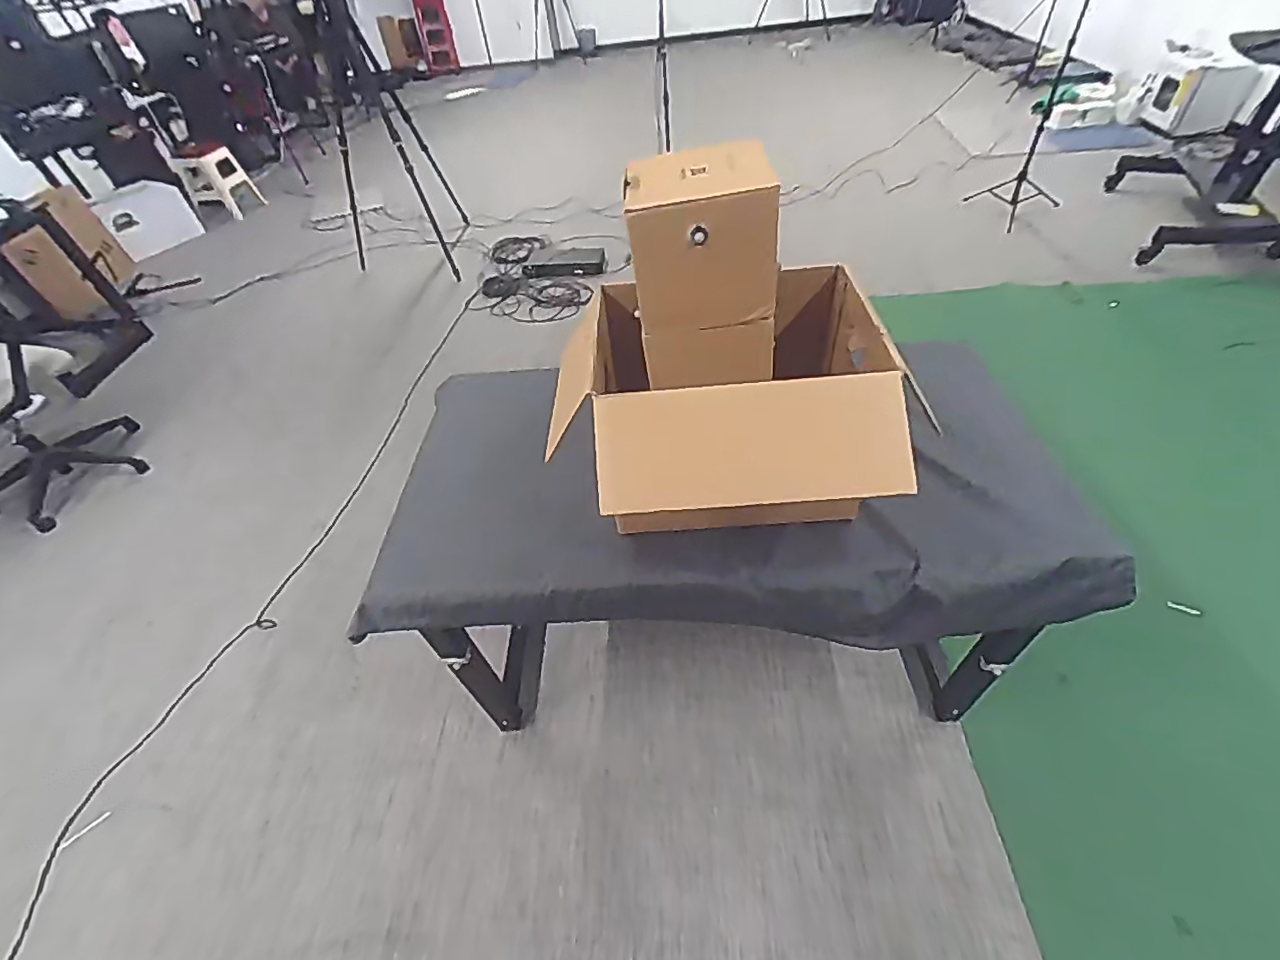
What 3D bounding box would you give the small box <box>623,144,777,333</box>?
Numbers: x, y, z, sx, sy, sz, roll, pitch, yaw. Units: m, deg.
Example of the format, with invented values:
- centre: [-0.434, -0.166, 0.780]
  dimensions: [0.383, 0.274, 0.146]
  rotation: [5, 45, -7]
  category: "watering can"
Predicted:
- centre: [0.077, -0.311, 0.712]
  dimensions: [0.179, 0.176, 0.168]
  rotation: [-6, 48, 5]
  category: "small box"
